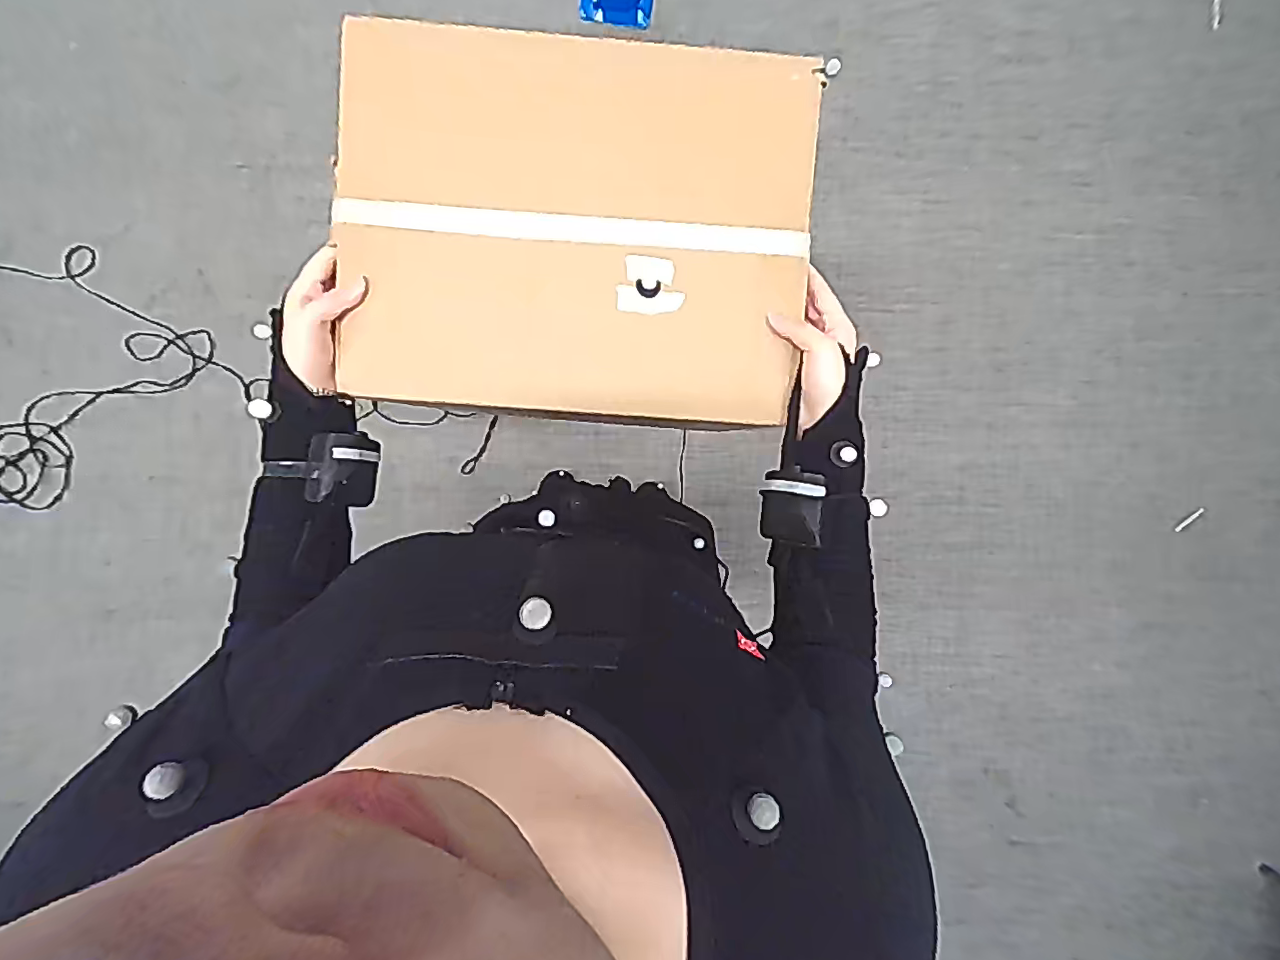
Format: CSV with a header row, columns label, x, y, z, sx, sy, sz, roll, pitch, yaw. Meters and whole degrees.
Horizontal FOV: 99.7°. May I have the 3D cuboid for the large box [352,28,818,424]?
label,x,y,z,sx,sy,sz,roll,pitch,yaw
large box,-0.056,-0.232,0.623,0.408,0.320,0.320,3,95,-3

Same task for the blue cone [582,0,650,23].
label,x,y,z,sx,sy,sz,roll,pitch,yaw
blue cone,-0.062,-1.375,1.341,0.193,0.380,0.192,10,90,0
